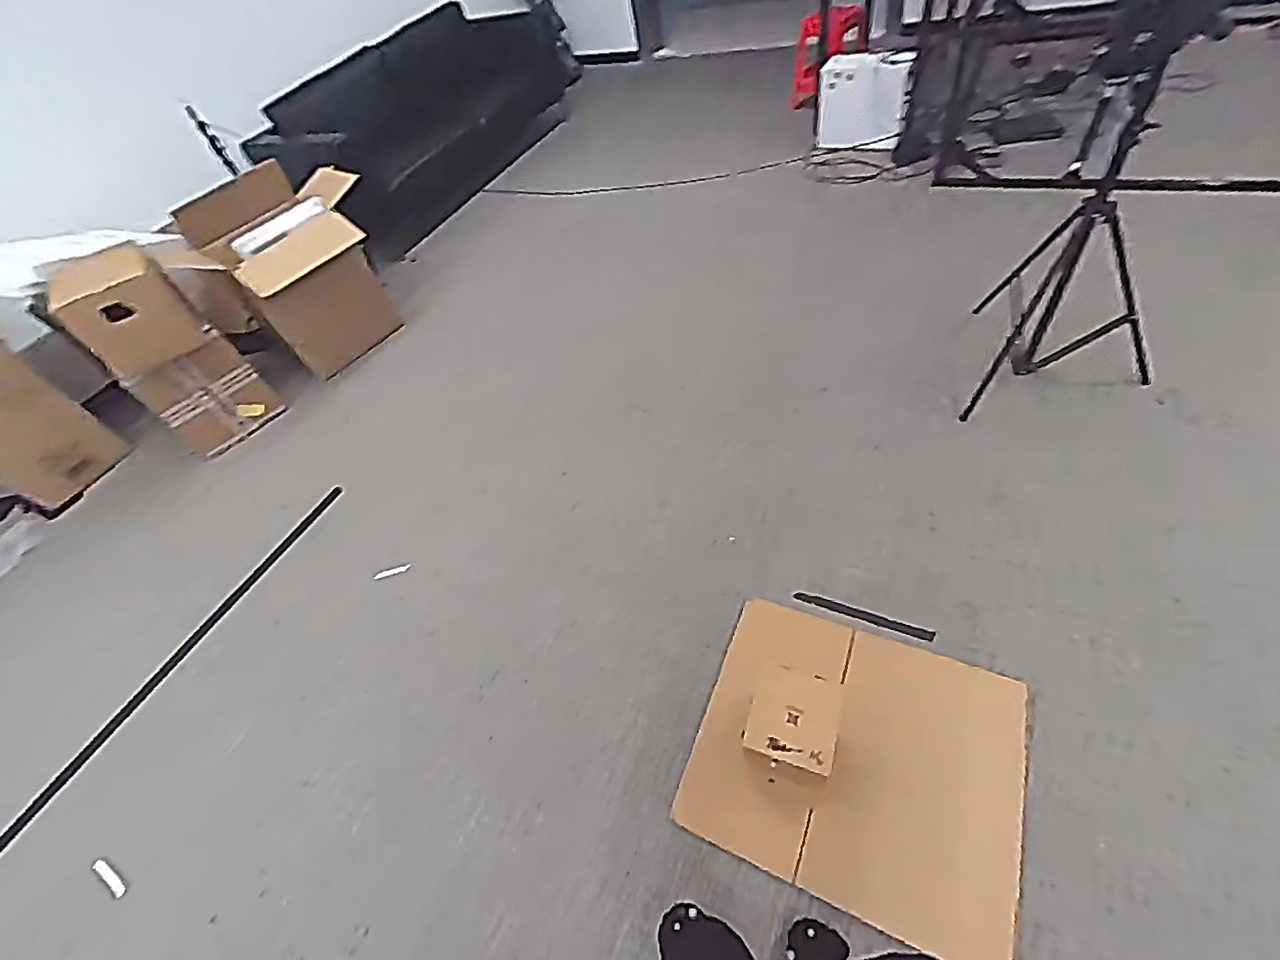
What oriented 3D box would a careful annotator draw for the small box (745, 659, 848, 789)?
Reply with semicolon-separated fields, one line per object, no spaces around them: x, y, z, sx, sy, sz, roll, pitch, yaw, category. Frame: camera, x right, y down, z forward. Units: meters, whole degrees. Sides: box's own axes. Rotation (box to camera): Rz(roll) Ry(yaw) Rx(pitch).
0.318;0.501;1.111;0.168;0.176;0.179;11;55;22;small box

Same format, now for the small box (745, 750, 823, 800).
0.349;0.603;1.236;0.168;0.176;0.179;13;57;22;small box
